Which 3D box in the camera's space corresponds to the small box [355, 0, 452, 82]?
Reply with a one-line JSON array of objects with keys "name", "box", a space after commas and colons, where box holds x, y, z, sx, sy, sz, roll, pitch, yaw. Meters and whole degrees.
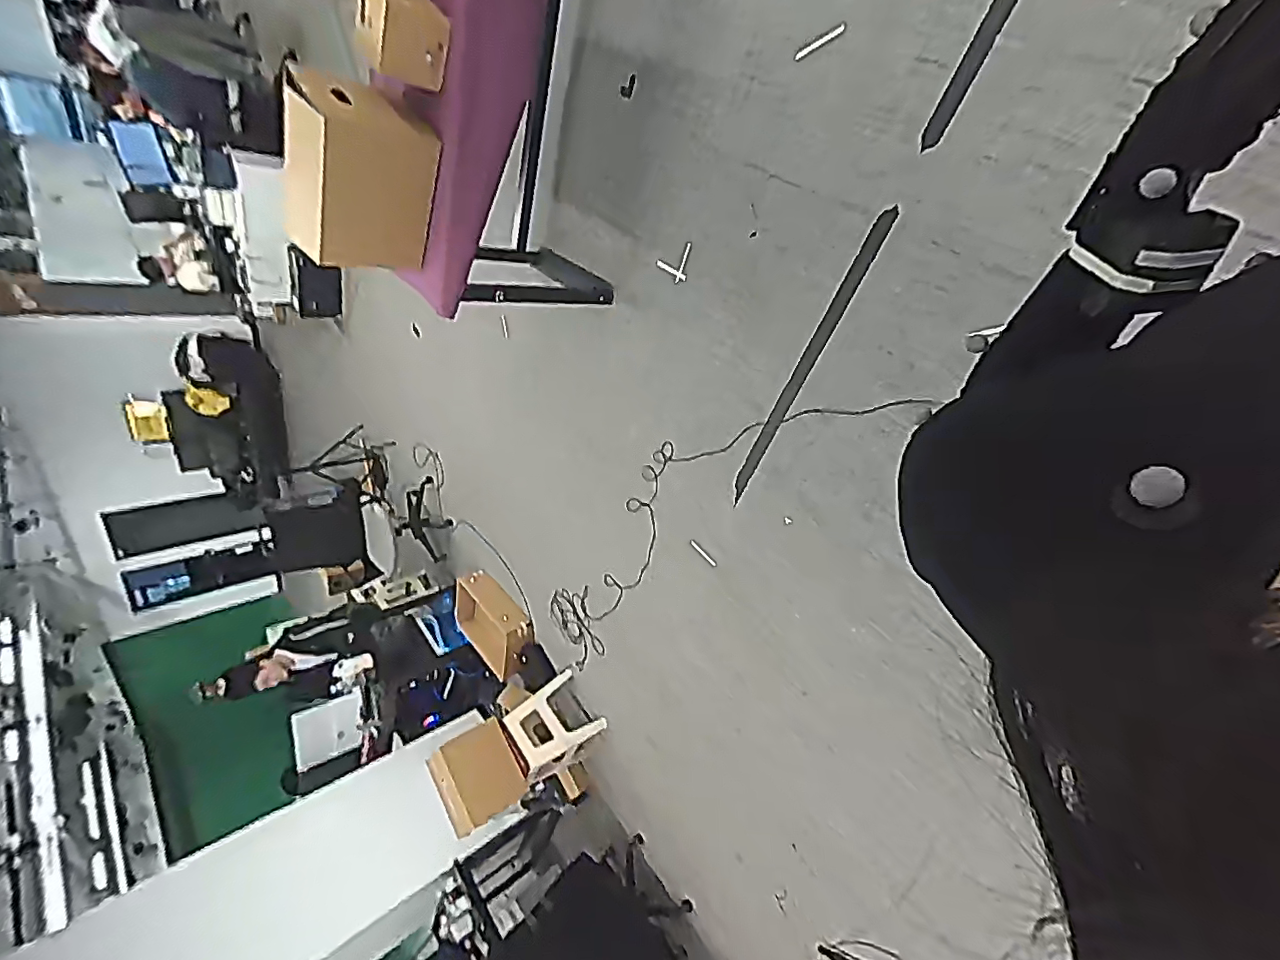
[{"name": "small box", "box": [-0.613, -1.173, 1.399, 0.179, 0.176, 0.168, 54, 135, 20]}]
